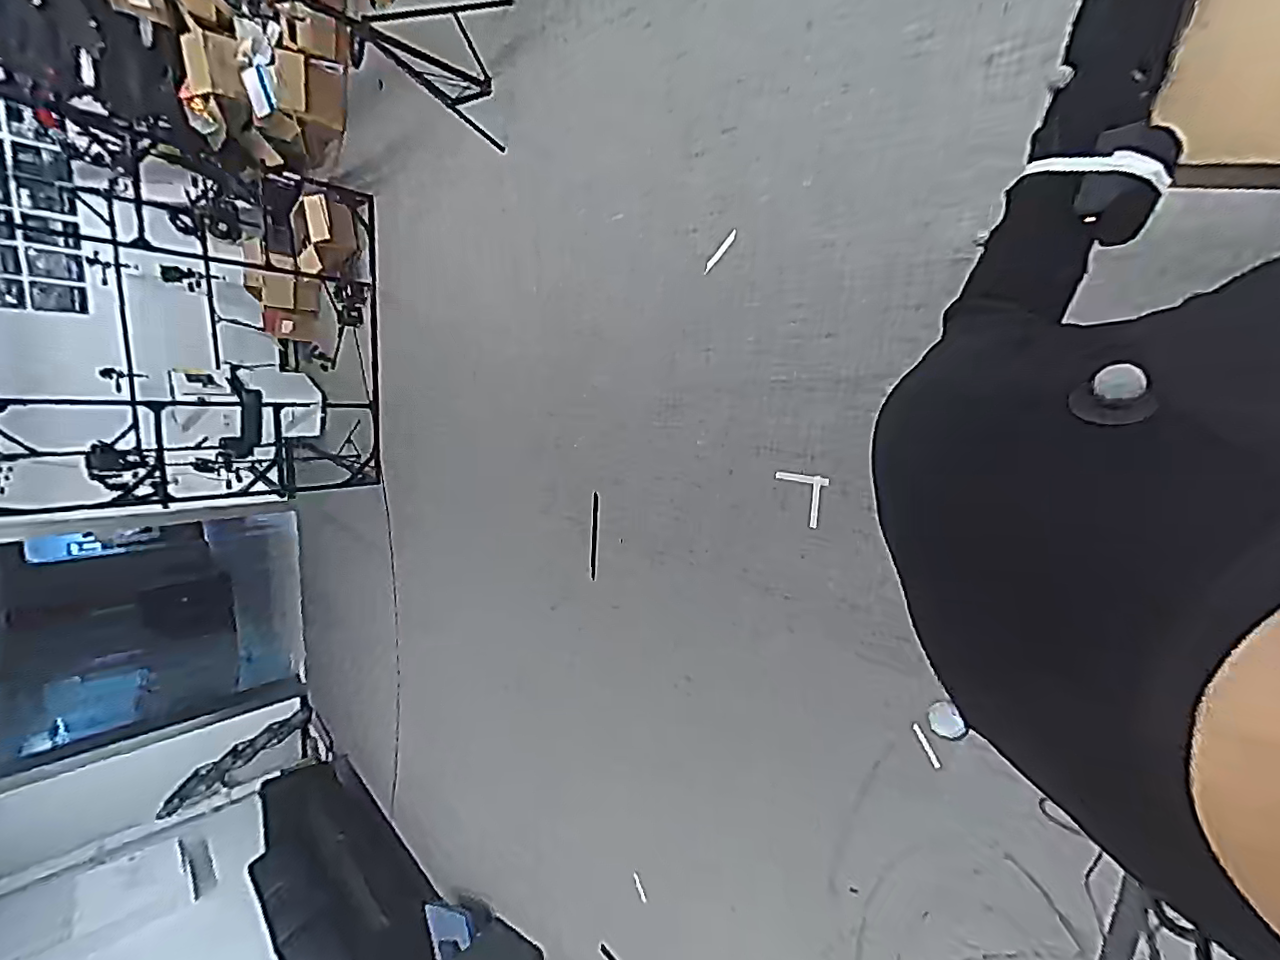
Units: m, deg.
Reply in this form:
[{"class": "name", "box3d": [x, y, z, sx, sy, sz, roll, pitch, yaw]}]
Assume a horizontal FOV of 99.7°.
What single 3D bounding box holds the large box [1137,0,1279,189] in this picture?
[{"class": "large box", "box3d": [0.638, -0.366, 0.339, 0.408, 0.320, 0.320, 25, 126, 36]}]
